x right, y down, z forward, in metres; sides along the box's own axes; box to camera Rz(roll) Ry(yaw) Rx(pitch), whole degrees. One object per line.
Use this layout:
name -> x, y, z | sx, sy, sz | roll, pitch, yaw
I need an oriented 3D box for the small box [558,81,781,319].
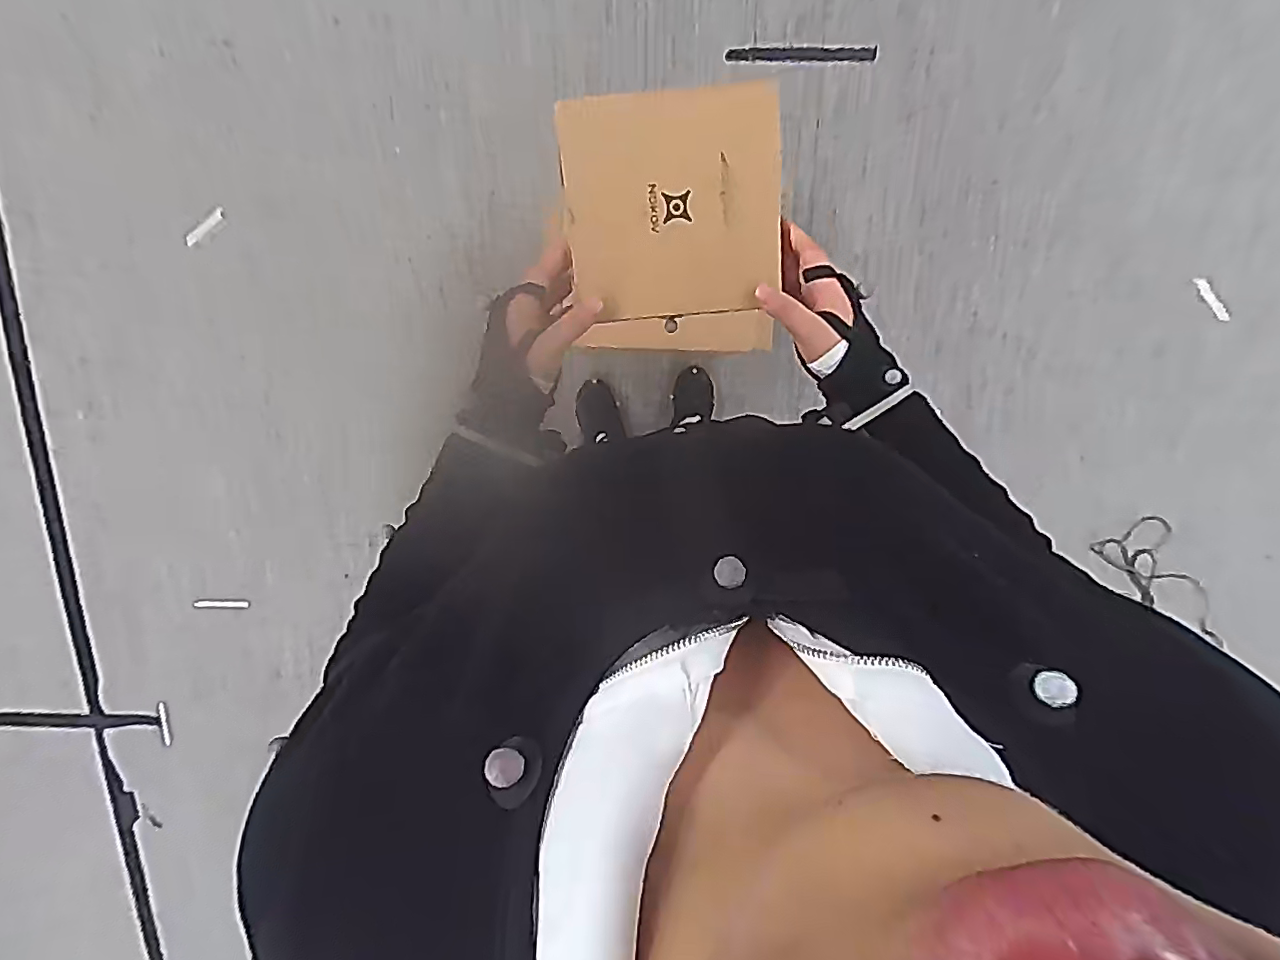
small box -> 0.028, -0.247, 0.520 | 0.179, 0.176, 0.168 | -6, 107, 1
